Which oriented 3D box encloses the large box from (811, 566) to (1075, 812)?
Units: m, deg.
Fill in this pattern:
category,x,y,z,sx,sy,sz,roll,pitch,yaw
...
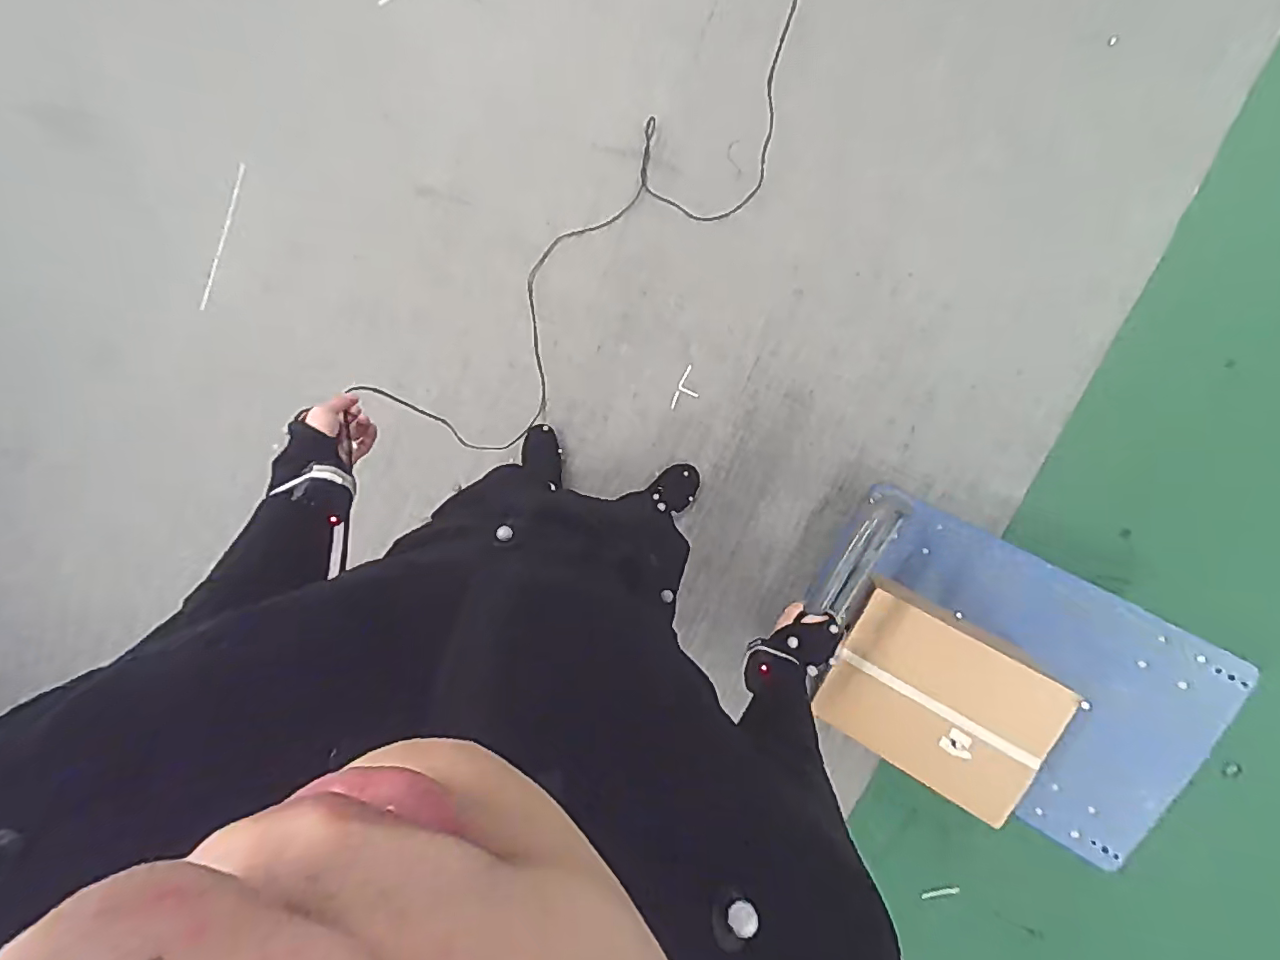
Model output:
category,x,y,z,sx,sy,sz,roll,pitch,yaw
large box,0.647,0.440,1.248,0.408,0.320,0.320,28,99,16
